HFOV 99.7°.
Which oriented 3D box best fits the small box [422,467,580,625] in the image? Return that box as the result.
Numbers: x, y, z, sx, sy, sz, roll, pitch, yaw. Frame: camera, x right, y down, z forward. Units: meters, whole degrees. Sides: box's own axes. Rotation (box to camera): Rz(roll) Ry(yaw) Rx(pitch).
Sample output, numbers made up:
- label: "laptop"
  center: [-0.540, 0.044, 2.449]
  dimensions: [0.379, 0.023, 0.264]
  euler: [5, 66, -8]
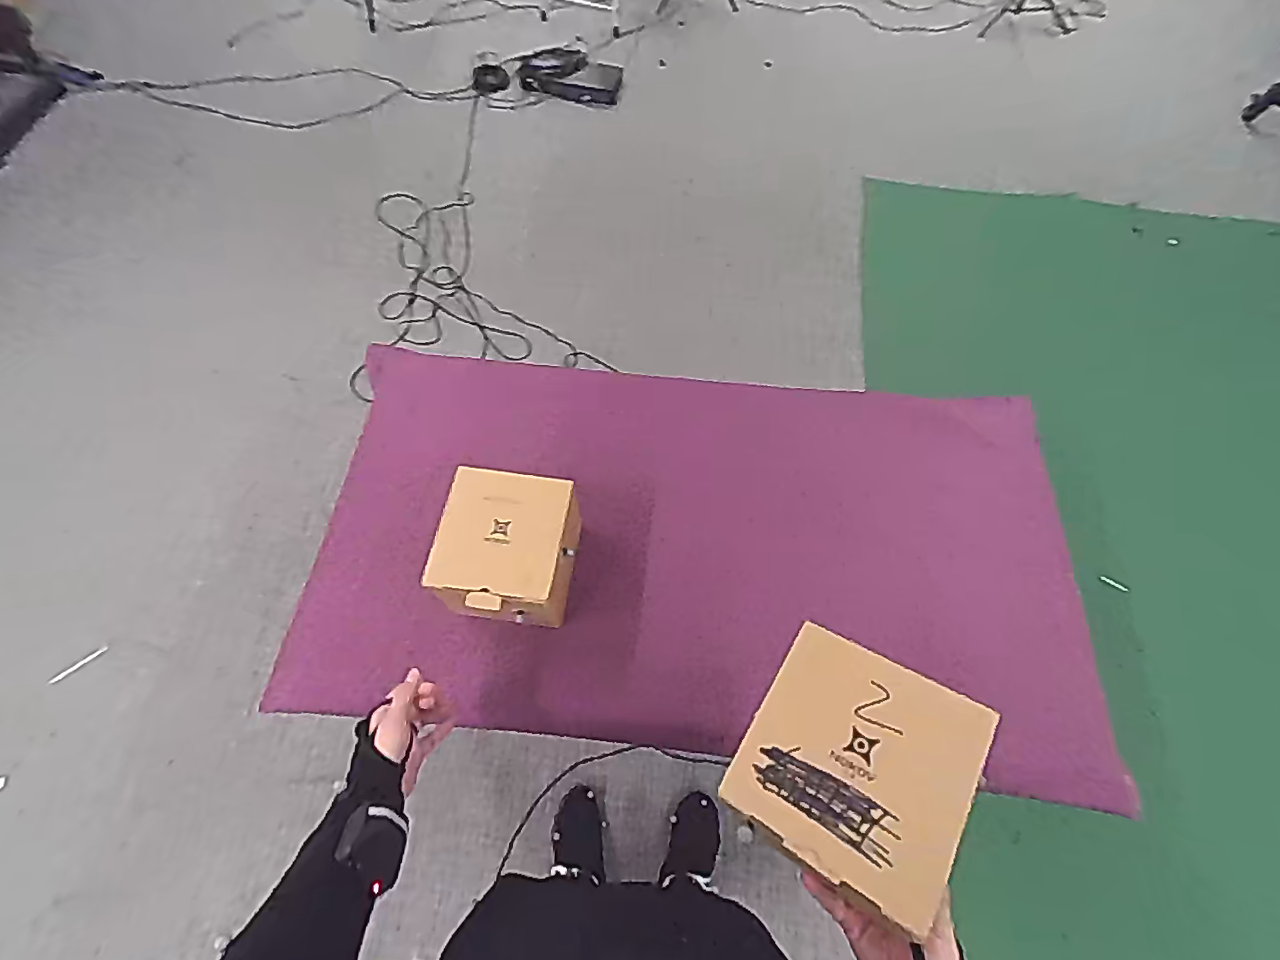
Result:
- label: "small box"
  center: [-0.188, 0.104, 0.795]
  dimensions: [0.168, 0.176, 0.179]
  euler: [8, 63, 3]
